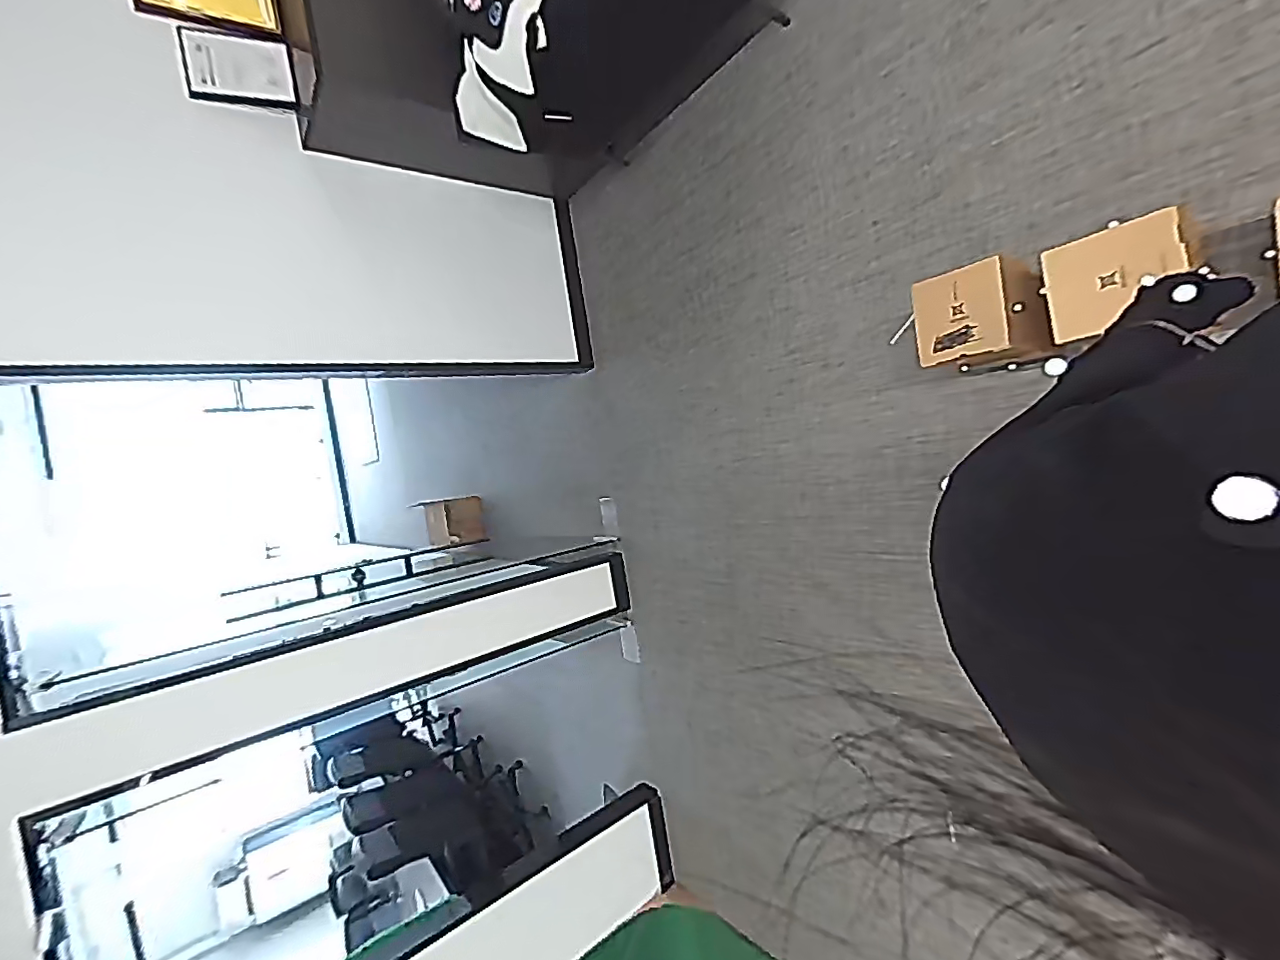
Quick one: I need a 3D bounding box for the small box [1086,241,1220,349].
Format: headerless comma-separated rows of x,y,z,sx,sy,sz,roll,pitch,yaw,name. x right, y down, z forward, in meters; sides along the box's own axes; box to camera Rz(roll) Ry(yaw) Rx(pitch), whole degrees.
0.968,-0.357,1.031,0.168,0.176,0.179,-9,90,54,small box

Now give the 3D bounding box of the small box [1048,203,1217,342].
0.843,-0.340,0.928,0.179,0.176,0.168,-10,90,52,small box
